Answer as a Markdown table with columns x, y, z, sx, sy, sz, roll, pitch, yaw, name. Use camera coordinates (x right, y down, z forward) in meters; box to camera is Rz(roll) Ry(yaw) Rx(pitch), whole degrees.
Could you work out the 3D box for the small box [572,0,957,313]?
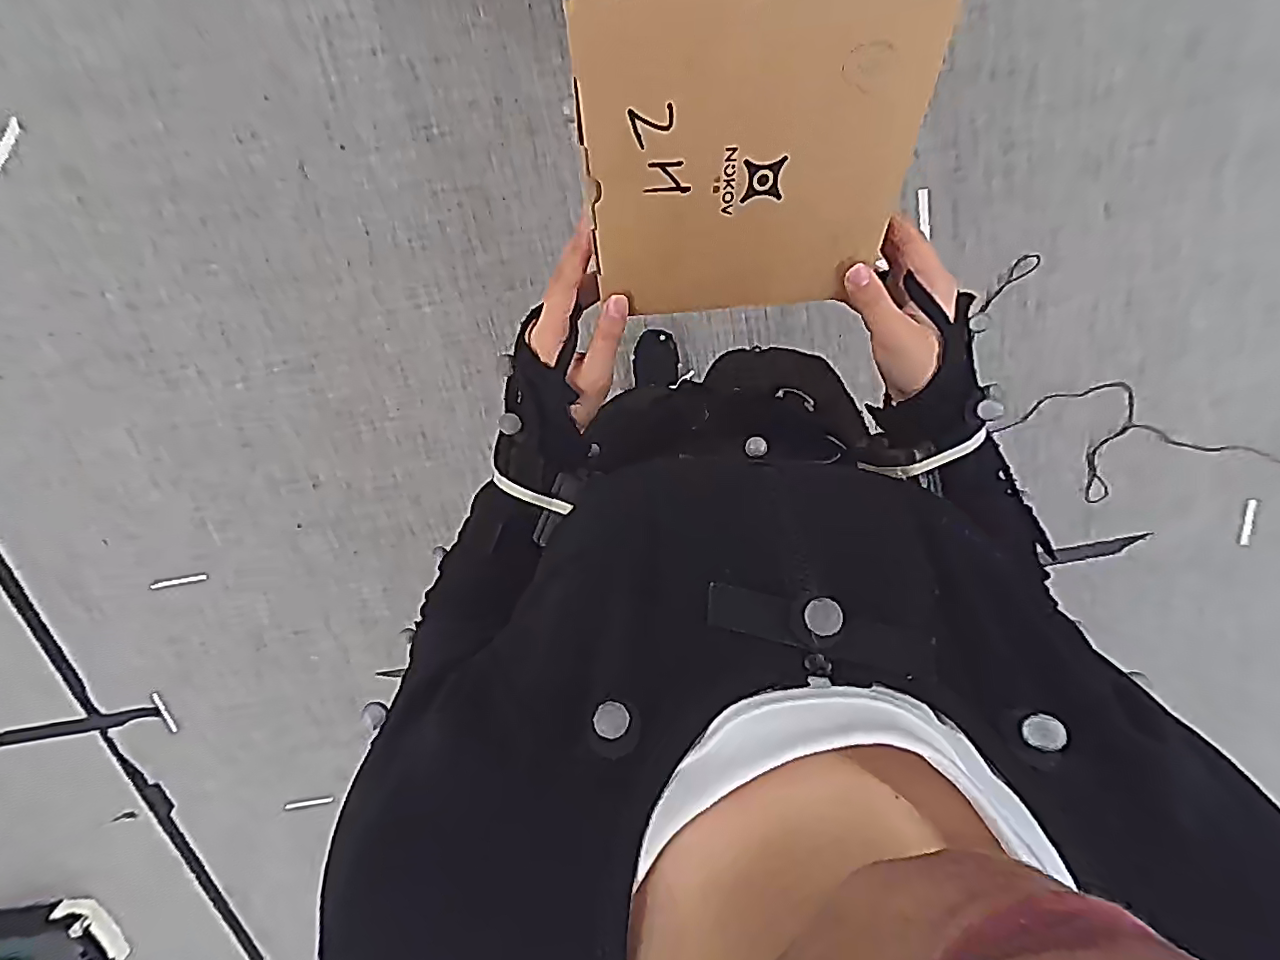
| x | y | z | sx | sy | sz | roll | pitch | yaw | name |
| --- | --- | --- | --- | --- | --- | --- | --- | --- | --- |
| 0.052 | -0.232 | 0.343 | 0.179 | 0.176 | 0.168 | -5 | 144 | 0 | small box |
